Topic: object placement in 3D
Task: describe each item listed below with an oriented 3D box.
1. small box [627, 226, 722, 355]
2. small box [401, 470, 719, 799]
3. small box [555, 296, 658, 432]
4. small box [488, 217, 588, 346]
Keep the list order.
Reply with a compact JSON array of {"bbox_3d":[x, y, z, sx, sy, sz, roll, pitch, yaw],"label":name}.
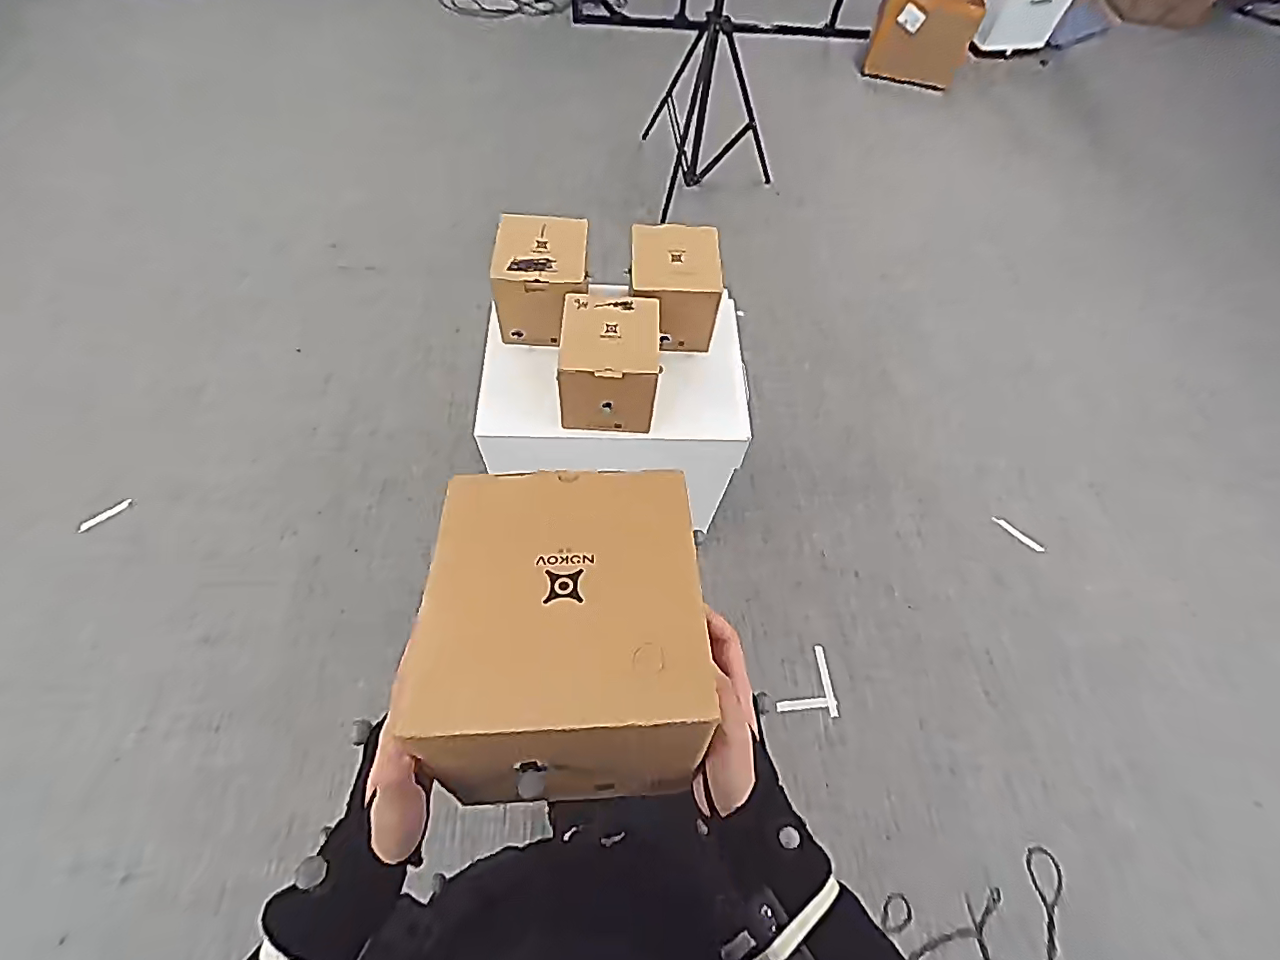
[{"bbox_3d":[0.060,-0.371,1.072,0.168,0.176,0.179,0,64,-3],"label":"small box"},{"bbox_3d":[-0.046,0.113,0.386,0.168,0.176,0.179,-2,48,-4],"label":"small box"},{"bbox_3d":[-0.057,-0.201,0.971,0.168,0.176,0.179,3,62,-3],"label":"small box"},{"bbox_3d":[-0.189,-0.378,1.053,0.168,0.176,0.179,2,62,-4],"label":"small box"}]
